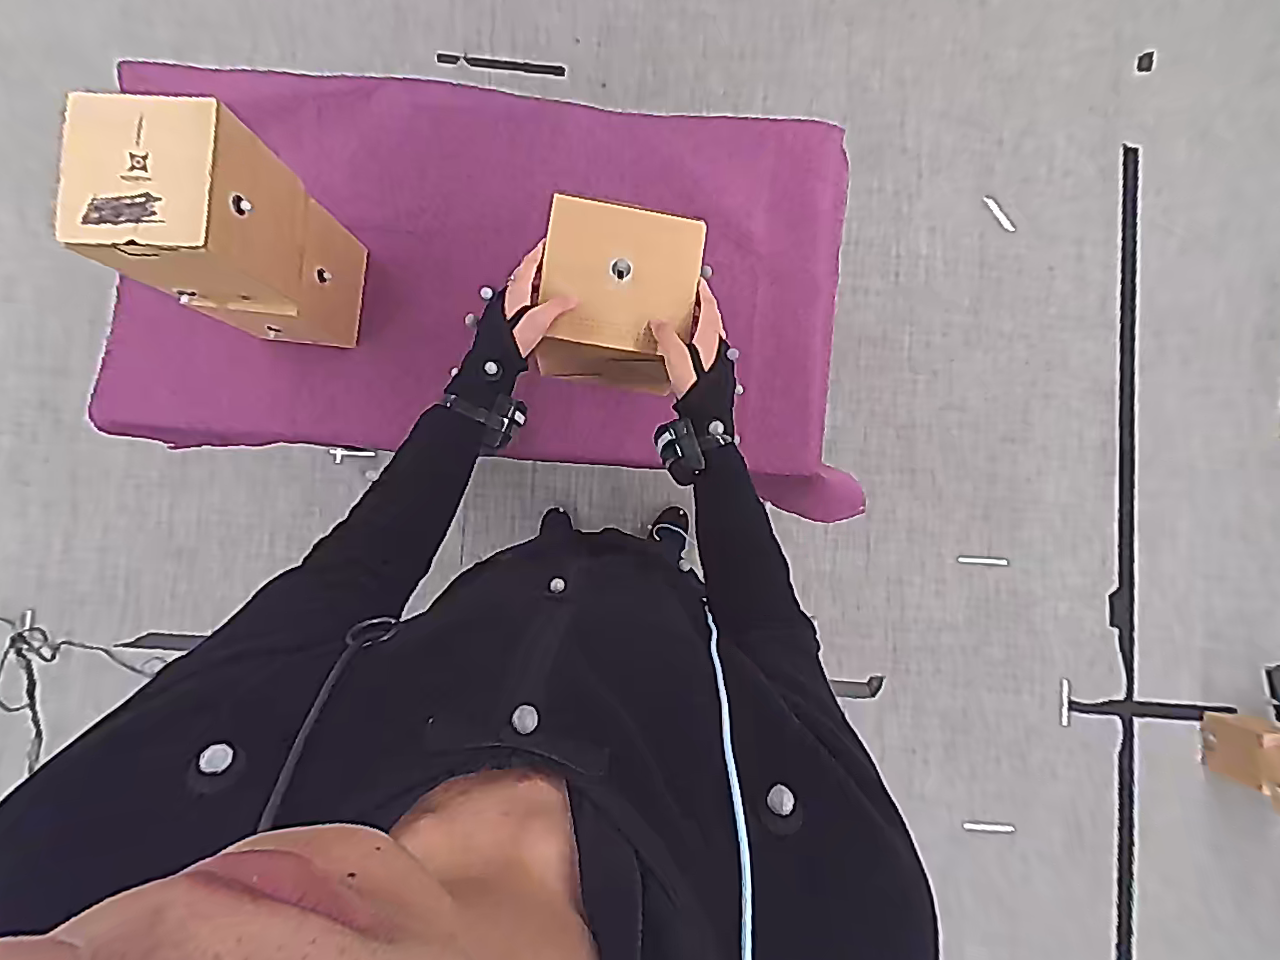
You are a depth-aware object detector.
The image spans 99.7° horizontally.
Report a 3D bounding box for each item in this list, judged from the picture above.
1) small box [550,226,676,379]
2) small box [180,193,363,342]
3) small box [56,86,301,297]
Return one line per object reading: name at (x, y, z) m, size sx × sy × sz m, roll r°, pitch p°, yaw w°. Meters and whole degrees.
small box at (-0.038, -0.266, 0.850) m, size 0.168 × 0.176 × 0.179 m, roll 6°, pitch 87°, yaw -1°
small box at (-0.555, -0.325, 0.838) m, size 0.168 × 0.176 × 0.179 m, roll 6°, pitch 88°, yaw -2°
small box at (-0.554, -0.342, 0.674) m, size 0.168 × 0.176 × 0.179 m, roll 2°, pitch 88°, yaw -2°
